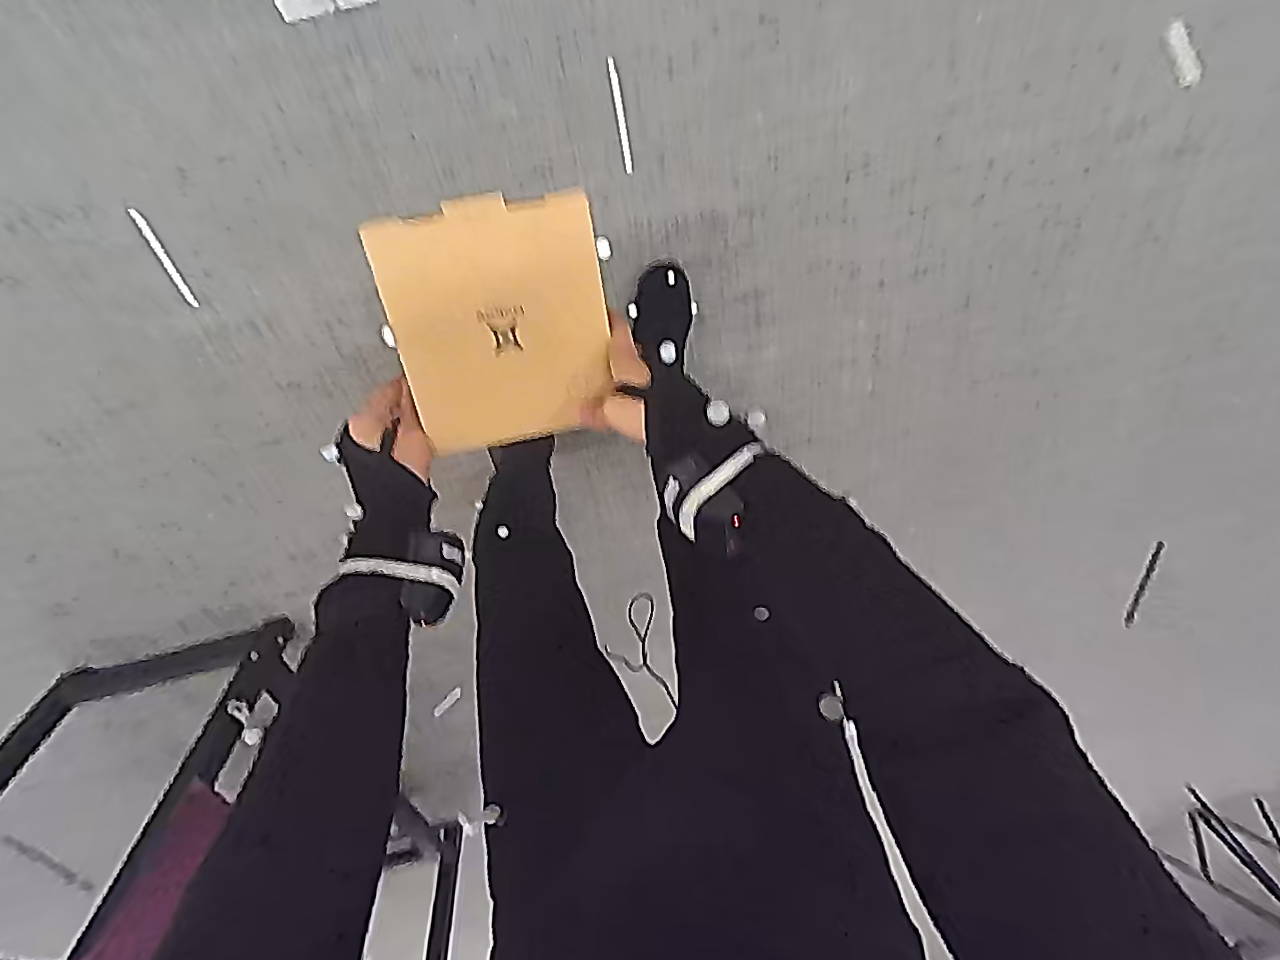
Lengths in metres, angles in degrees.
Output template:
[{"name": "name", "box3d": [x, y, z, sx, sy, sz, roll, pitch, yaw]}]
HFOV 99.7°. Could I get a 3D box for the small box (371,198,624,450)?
[{"name": "small box", "box3d": [-0.117, -0.147, 0.503, 0.168, 0.176, 0.179, -12, 112, -6]}]
